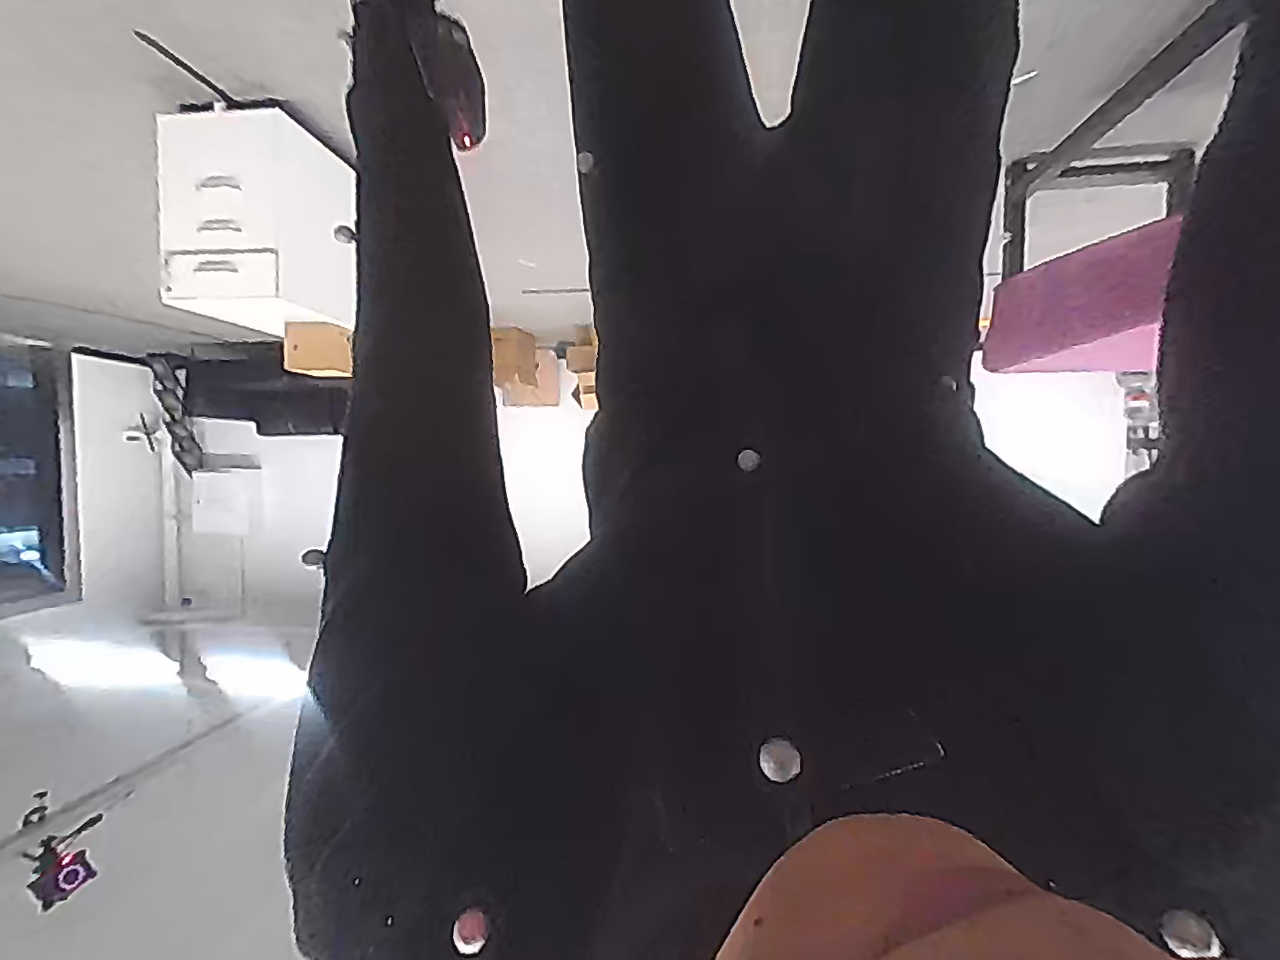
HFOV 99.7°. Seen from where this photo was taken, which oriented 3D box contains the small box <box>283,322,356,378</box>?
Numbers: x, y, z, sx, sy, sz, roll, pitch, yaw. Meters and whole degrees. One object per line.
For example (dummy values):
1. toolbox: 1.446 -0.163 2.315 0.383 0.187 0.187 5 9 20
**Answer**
1. small box: -1.153 -0.469 1.955 0.179 0.176 0.168 1 -177 4
